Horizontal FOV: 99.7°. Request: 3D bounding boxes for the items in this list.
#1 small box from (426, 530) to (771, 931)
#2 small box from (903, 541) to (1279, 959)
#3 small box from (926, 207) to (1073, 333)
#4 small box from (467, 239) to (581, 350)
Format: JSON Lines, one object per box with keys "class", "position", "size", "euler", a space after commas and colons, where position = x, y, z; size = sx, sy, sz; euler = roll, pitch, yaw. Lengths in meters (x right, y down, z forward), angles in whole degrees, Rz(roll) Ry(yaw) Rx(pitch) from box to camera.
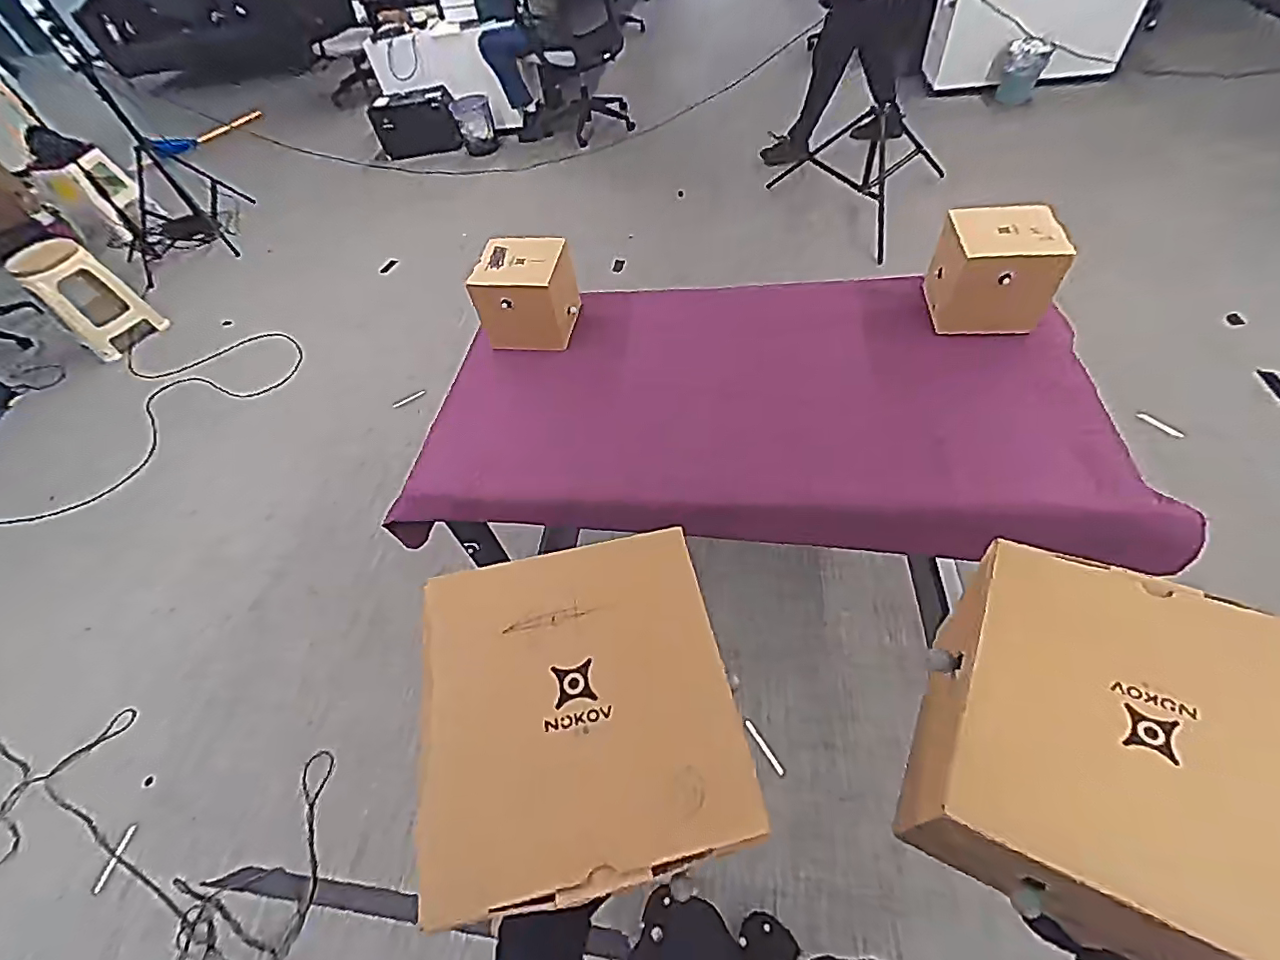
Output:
{"class": "small box", "position": [-0.031, 0.162, 0.359], "size": [0.168, 0.176, 0.179], "euler": [-11, 54, -7]}
{"class": "small box", "position": [0.280, 0.173, 0.342], "size": [0.168, 0.176, 0.179], "euler": [17, 59, 25]}
{"class": "small box", "position": [0.671, -0.398, 1.040], "size": [0.179, 0.176, 0.168], "euler": [2, 54, 9]}
{"class": "small box", "position": [-0.242, -0.401, 1.176], "size": [0.179, 0.176, 0.168], "euler": [4, 56, 10]}
